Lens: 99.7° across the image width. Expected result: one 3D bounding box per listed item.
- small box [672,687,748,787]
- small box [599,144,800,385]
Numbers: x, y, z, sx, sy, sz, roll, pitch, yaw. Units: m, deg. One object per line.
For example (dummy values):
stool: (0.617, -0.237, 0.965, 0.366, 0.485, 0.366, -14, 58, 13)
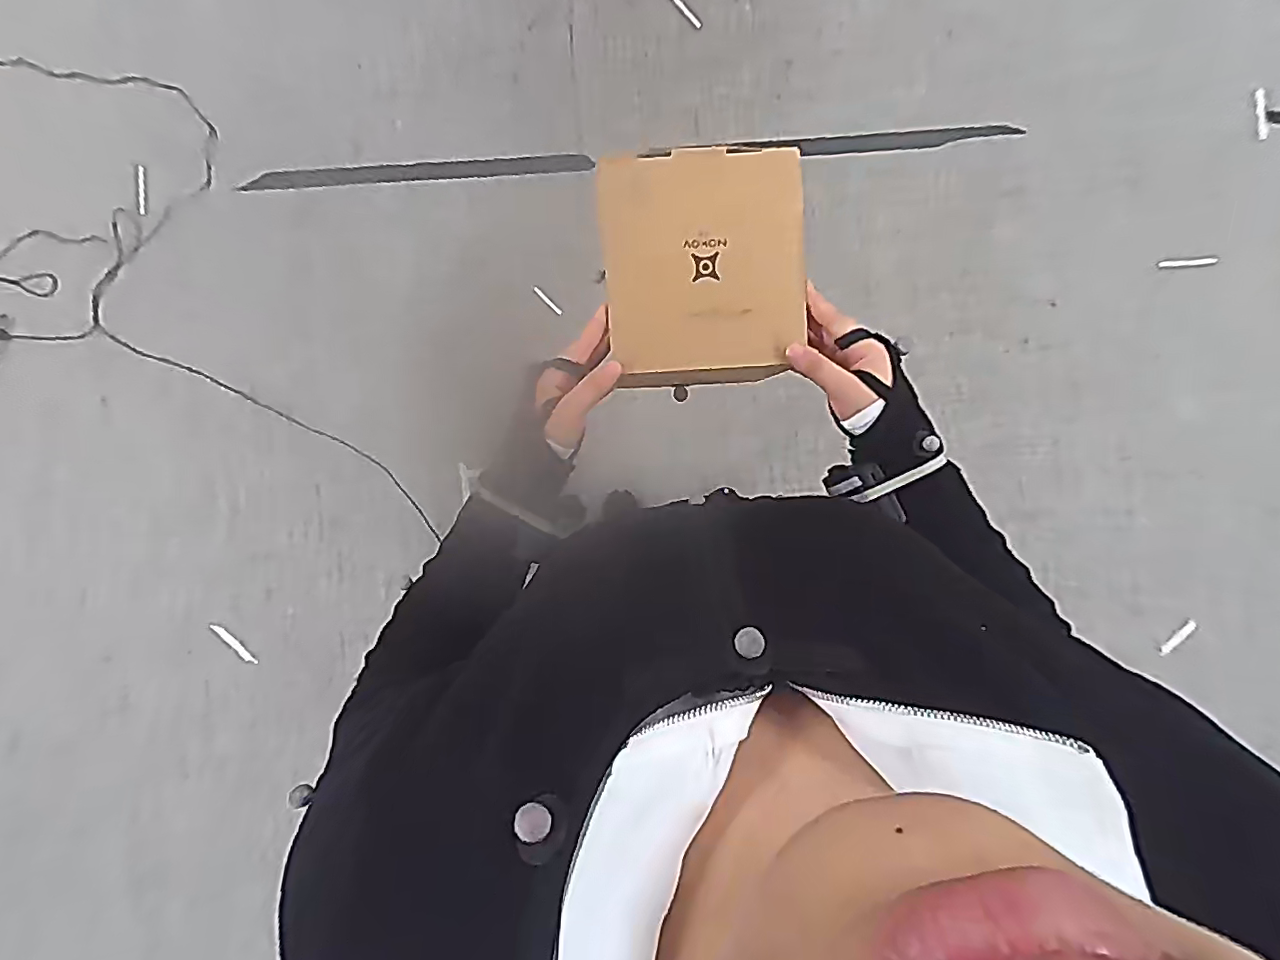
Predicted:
small box: (0.164, 0.615, 1.313, 0.168, 0.176, 0.179, -2, 89, 2)
small box: (0.047, -0.190, 0.524, 0.168, 0.176, 0.179, -3, 96, -1)
